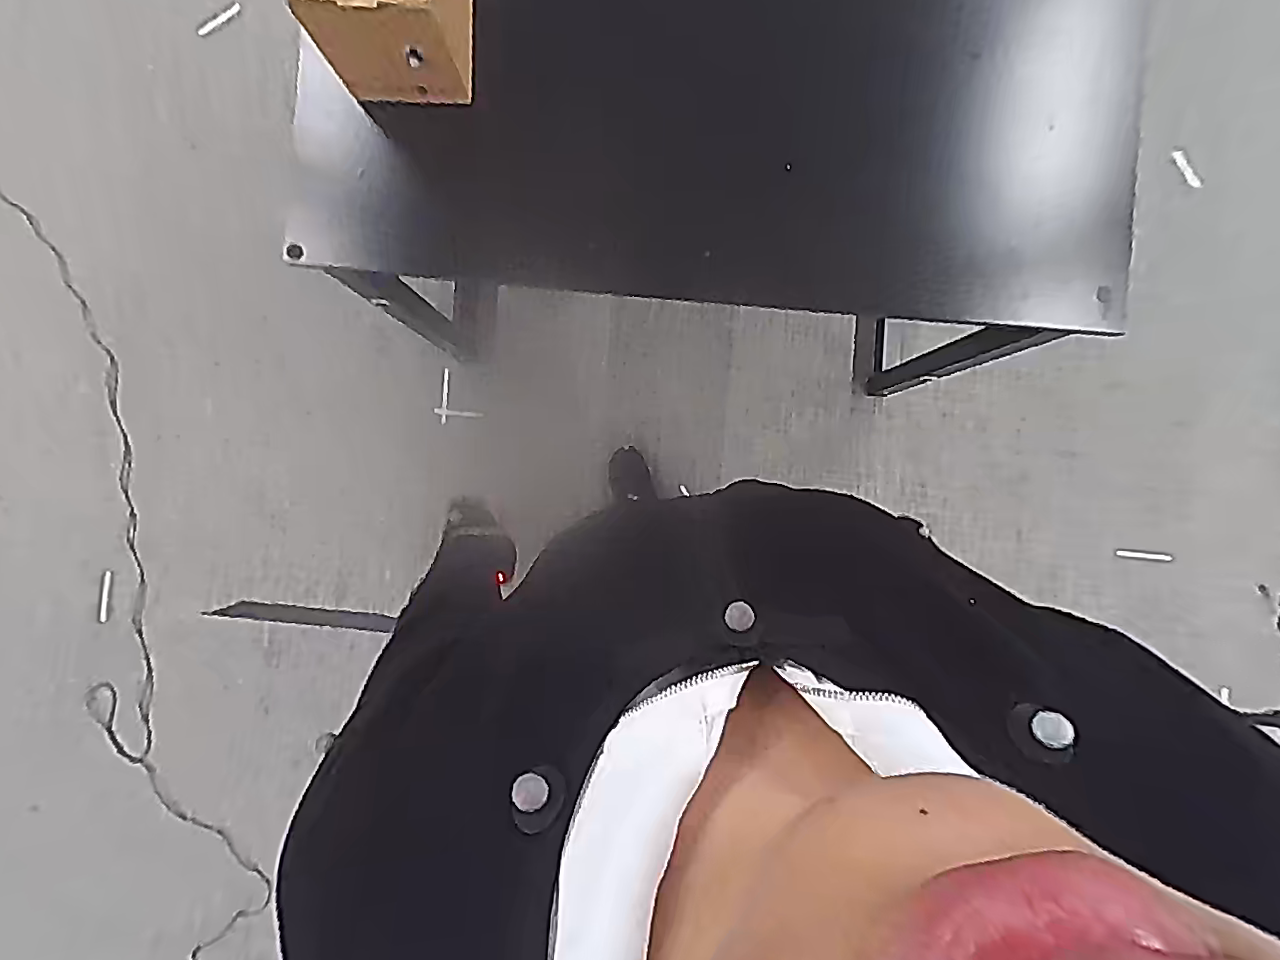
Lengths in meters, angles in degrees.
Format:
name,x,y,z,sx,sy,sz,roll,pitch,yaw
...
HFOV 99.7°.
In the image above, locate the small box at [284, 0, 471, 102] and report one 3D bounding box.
name,x,y,z,sx,sy,sz,roll,pitch,yaw
small box,-0.315,-0.613,0.677,0.168,0.176,0.179,0,89,-2
